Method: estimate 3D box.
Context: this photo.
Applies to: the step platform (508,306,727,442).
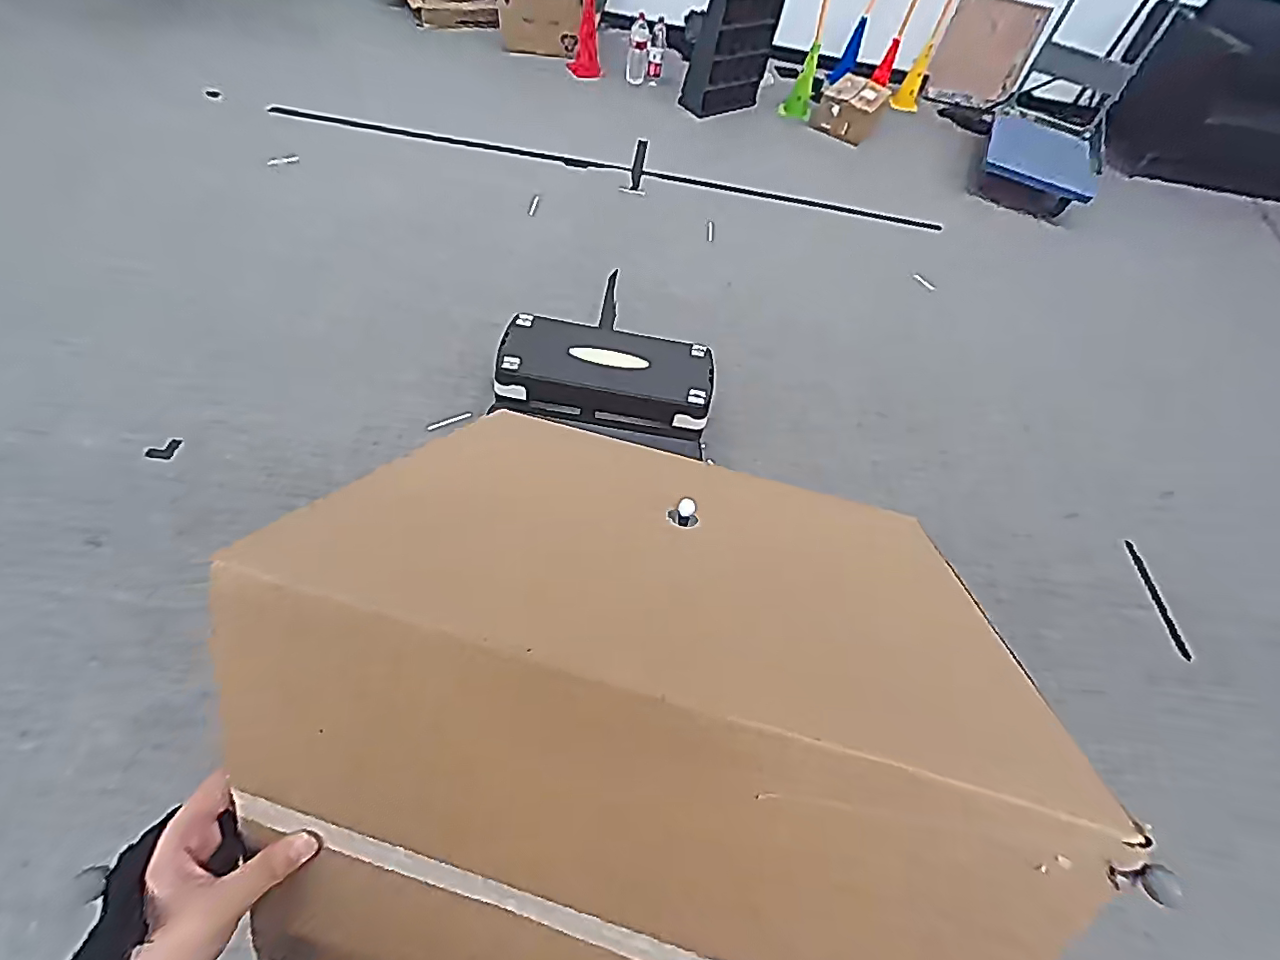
[{"bbox_3d":[-0.066,-0.334,1.735,0.684,0.204,0.286,14,55,-1],"label":"step platform"}]
